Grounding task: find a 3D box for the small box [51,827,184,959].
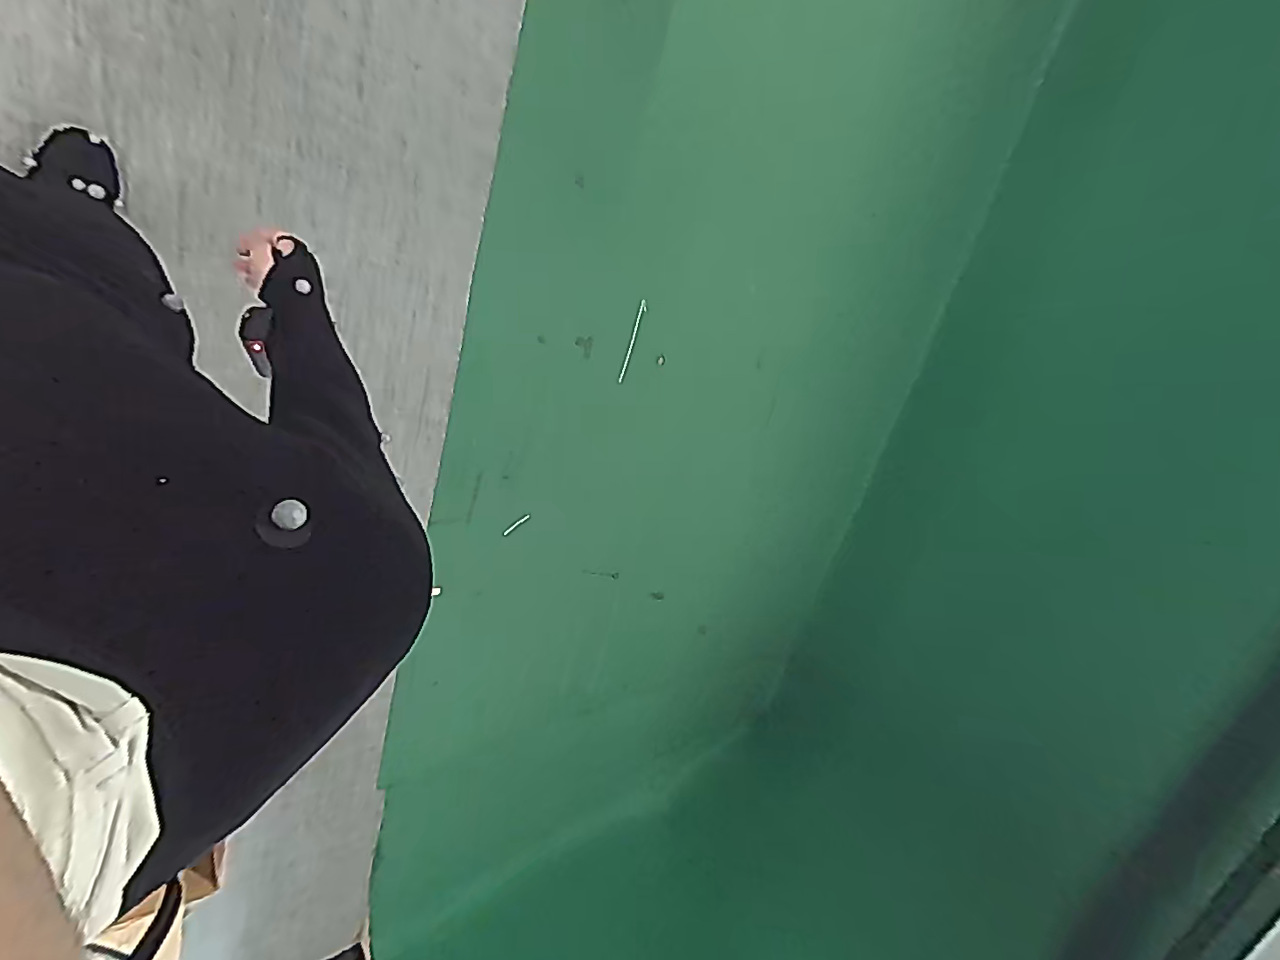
[{"bbox_3d":[-0.957,0.795,0.995,0.168,0.176,0.179,2,112,-44],"label":"small box"}]
